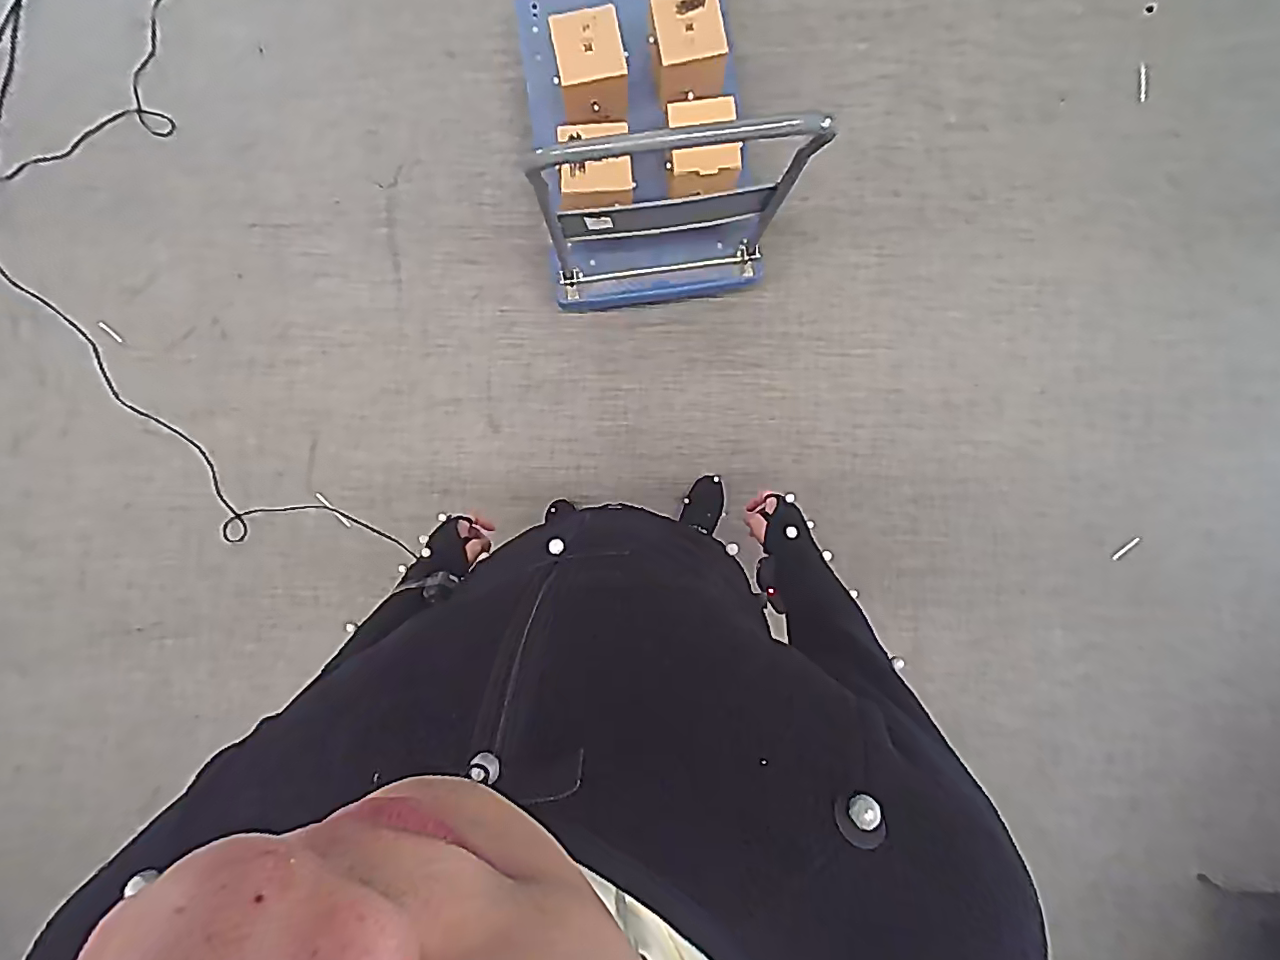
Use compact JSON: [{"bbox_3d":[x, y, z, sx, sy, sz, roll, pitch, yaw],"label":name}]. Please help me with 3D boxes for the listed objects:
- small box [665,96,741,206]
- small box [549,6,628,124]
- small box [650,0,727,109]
[{"bbox_3d":[0.157,-0.847,1.403,0.168,0.176,0.179,-7,90,0],"label":"small box"},{"bbox_3d":[-0.127,-1.063,1.404,0.168,0.176,0.179,-11,90,-1],"label":"small box"},{"bbox_3d":[0.119,-1.115,1.402,0.168,0.176,0.179,-11,91,1],"label":"small box"}]
